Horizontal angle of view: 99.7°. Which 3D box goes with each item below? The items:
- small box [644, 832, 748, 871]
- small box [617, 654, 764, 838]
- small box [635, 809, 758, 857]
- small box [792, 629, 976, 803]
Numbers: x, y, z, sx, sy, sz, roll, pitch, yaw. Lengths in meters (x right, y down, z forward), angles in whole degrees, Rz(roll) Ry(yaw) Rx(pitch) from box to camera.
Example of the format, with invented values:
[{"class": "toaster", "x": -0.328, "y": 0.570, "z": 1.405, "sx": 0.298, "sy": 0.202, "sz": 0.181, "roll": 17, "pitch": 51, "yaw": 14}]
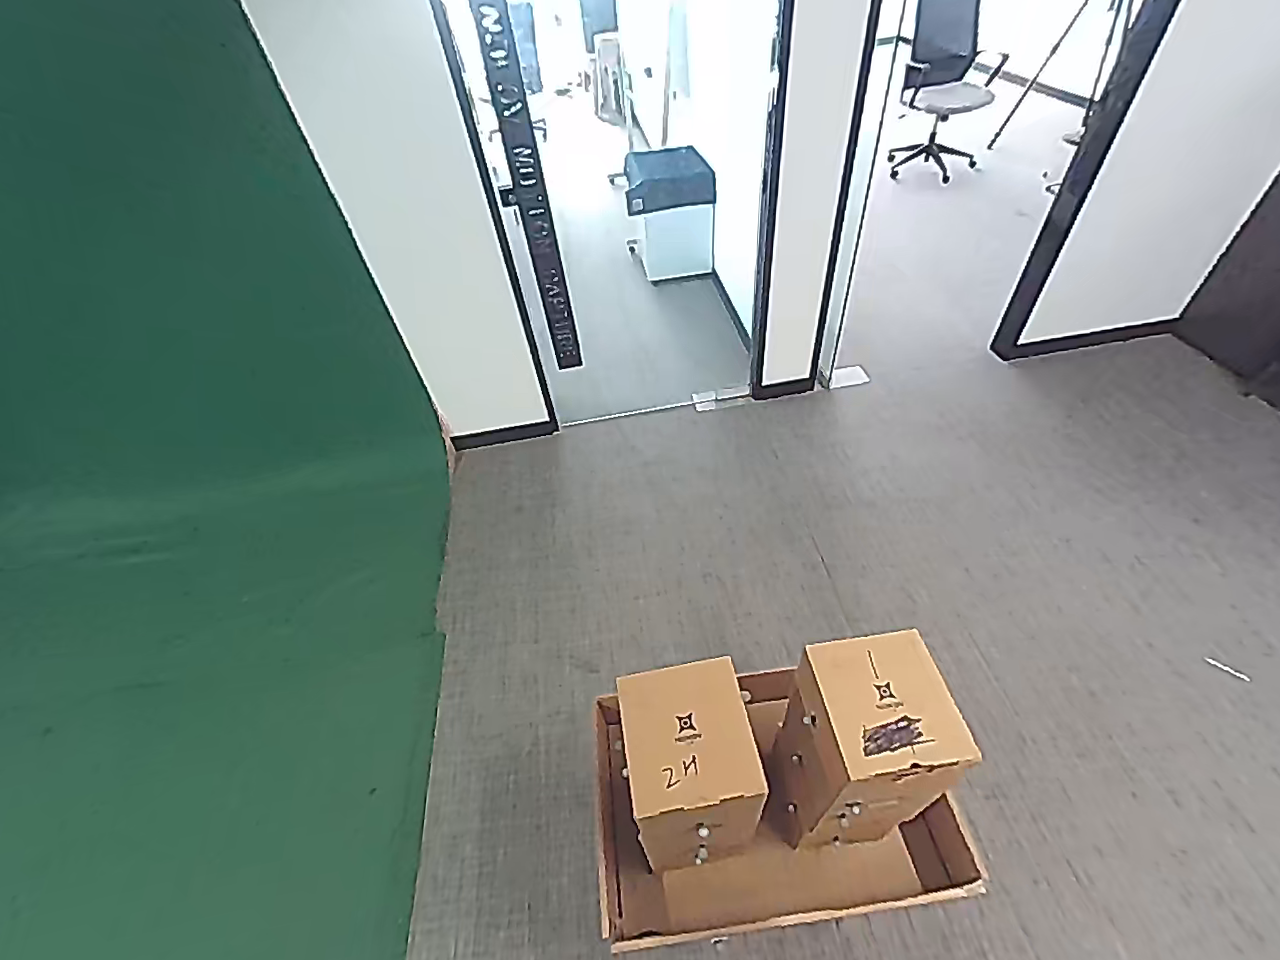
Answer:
[{"class": "small box", "x": 0.091, "y": 0.600, "z": 0.996, "sx": 0.179, "sy": 0.176, "sz": 0.168, "roll": -8, "pitch": 47, "yaw": -2}, {"class": "small box", "x": 0.064, "y": 0.374, "z": 0.758, "sx": 0.168, "sy": 0.176, "sz": 0.179, "roll": -10, "pitch": 48, "yaw": -2}, {"class": "small box", "x": 0.077, "y": 0.489, "z": 0.876, "sx": 0.179, "sy": 0.176, "sz": 0.168, "roll": -10, "pitch": 47, "yaw": -2}, {"class": "small box", "x": 0.324, "y": 0.337, "z": 0.762, "sx": 0.168, "sy": 0.176, "sz": 0.179, "roll": -8, "pitch": 46, "yaw": -1}]
